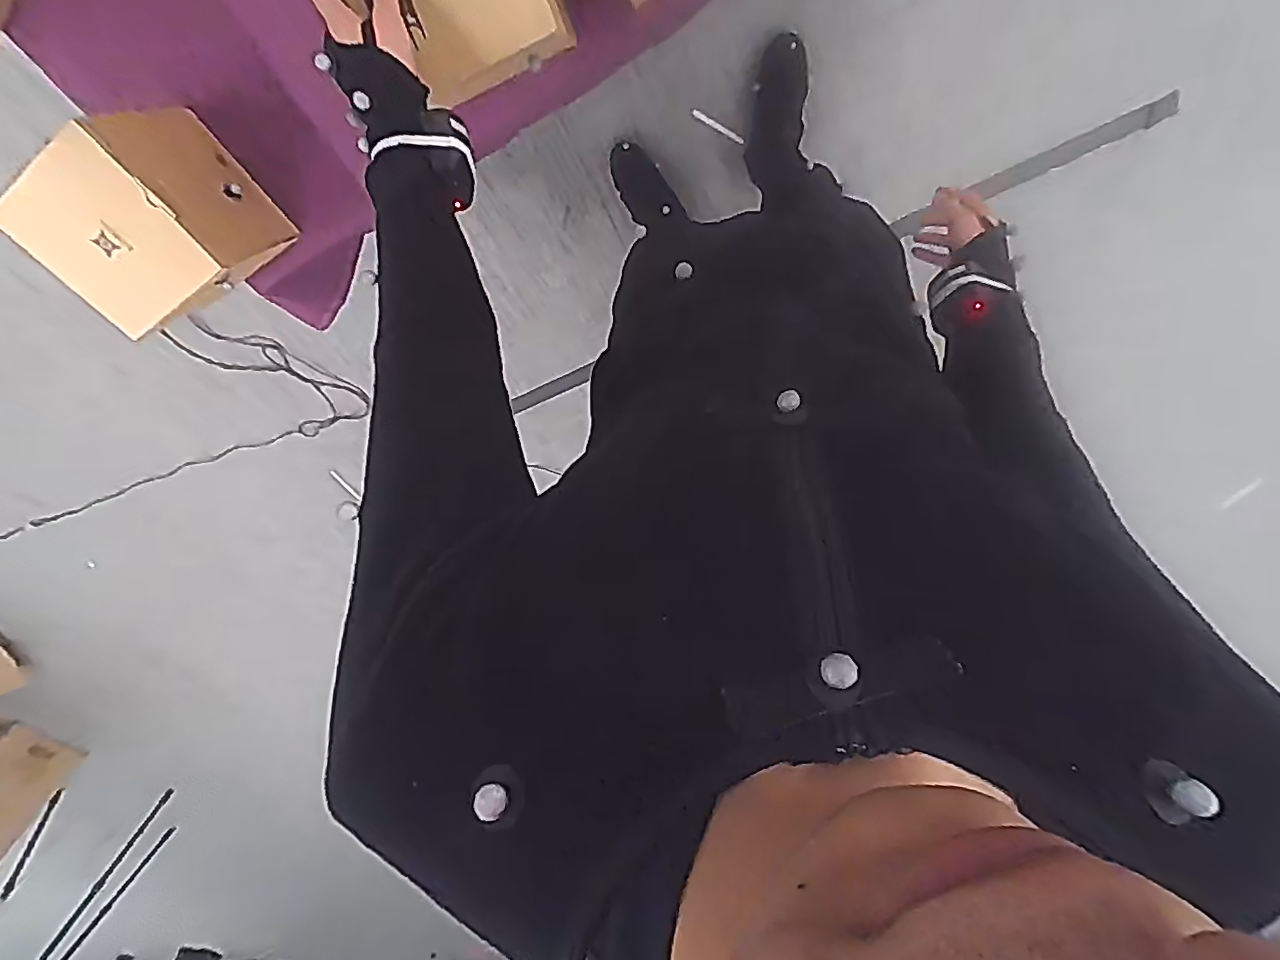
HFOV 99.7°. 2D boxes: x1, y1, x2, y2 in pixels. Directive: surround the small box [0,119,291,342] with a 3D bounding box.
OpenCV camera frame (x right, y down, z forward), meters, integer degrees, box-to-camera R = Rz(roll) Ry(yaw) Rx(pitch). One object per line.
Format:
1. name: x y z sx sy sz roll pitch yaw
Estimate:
1. small box: -0.577 -0.303 0.655 0.179 0.176 0.168 -26 122 17
